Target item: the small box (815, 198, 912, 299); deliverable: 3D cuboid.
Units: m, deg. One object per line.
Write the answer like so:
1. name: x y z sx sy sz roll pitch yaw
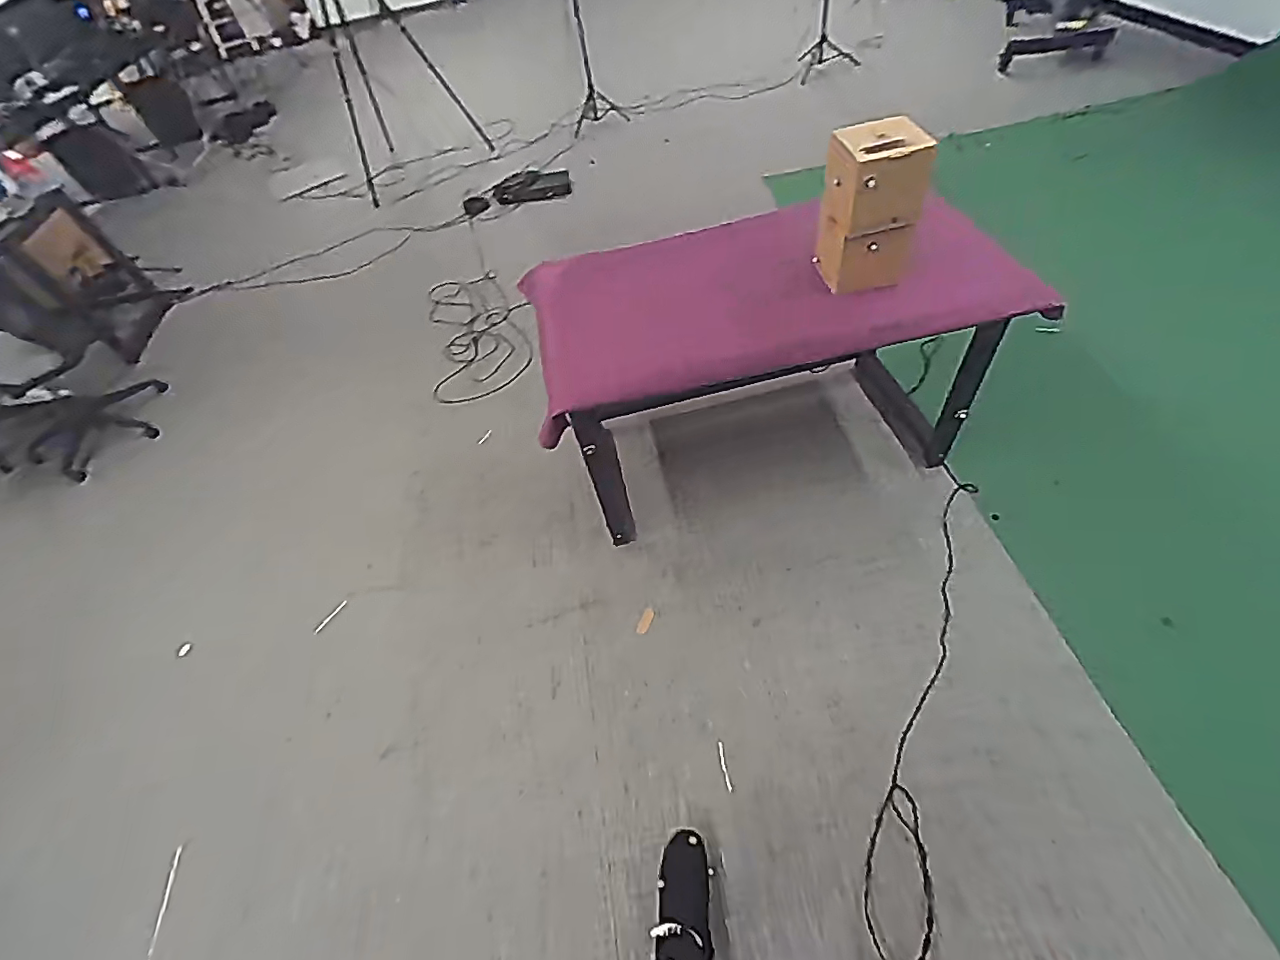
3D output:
1. small box: 0.555 -0.583 1.375 0.179 0.176 0.168 -11 52 1
